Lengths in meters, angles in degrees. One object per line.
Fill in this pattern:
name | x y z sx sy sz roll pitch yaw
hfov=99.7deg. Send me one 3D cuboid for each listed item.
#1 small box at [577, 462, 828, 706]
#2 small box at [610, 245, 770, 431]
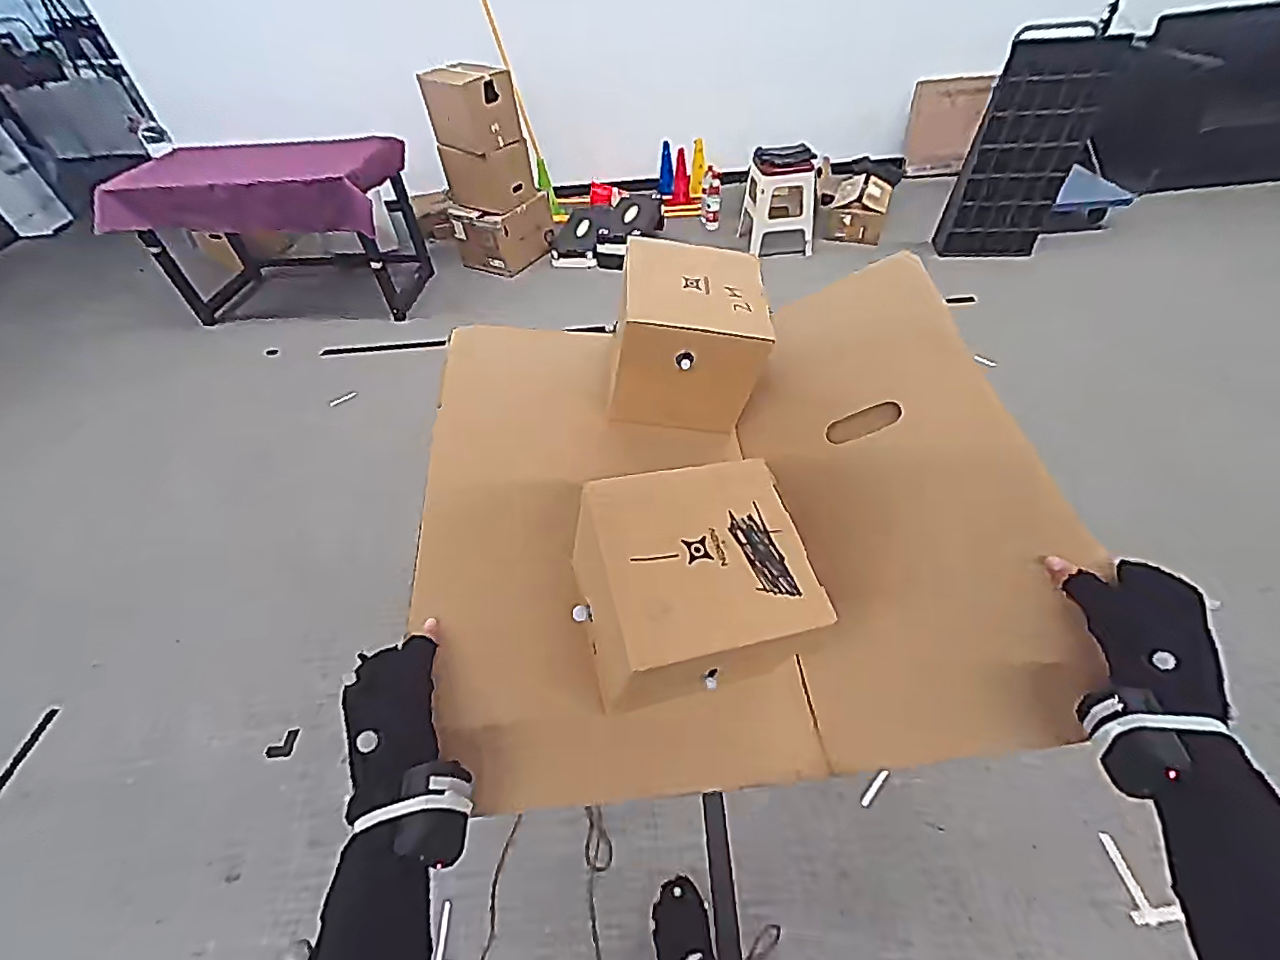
small box | 0.042 0.104 0.527 0.179 0.176 0.168 -8 59 -15
small box | 0.055 -0.183 0.725 0.179 0.176 0.168 6 55 -8
